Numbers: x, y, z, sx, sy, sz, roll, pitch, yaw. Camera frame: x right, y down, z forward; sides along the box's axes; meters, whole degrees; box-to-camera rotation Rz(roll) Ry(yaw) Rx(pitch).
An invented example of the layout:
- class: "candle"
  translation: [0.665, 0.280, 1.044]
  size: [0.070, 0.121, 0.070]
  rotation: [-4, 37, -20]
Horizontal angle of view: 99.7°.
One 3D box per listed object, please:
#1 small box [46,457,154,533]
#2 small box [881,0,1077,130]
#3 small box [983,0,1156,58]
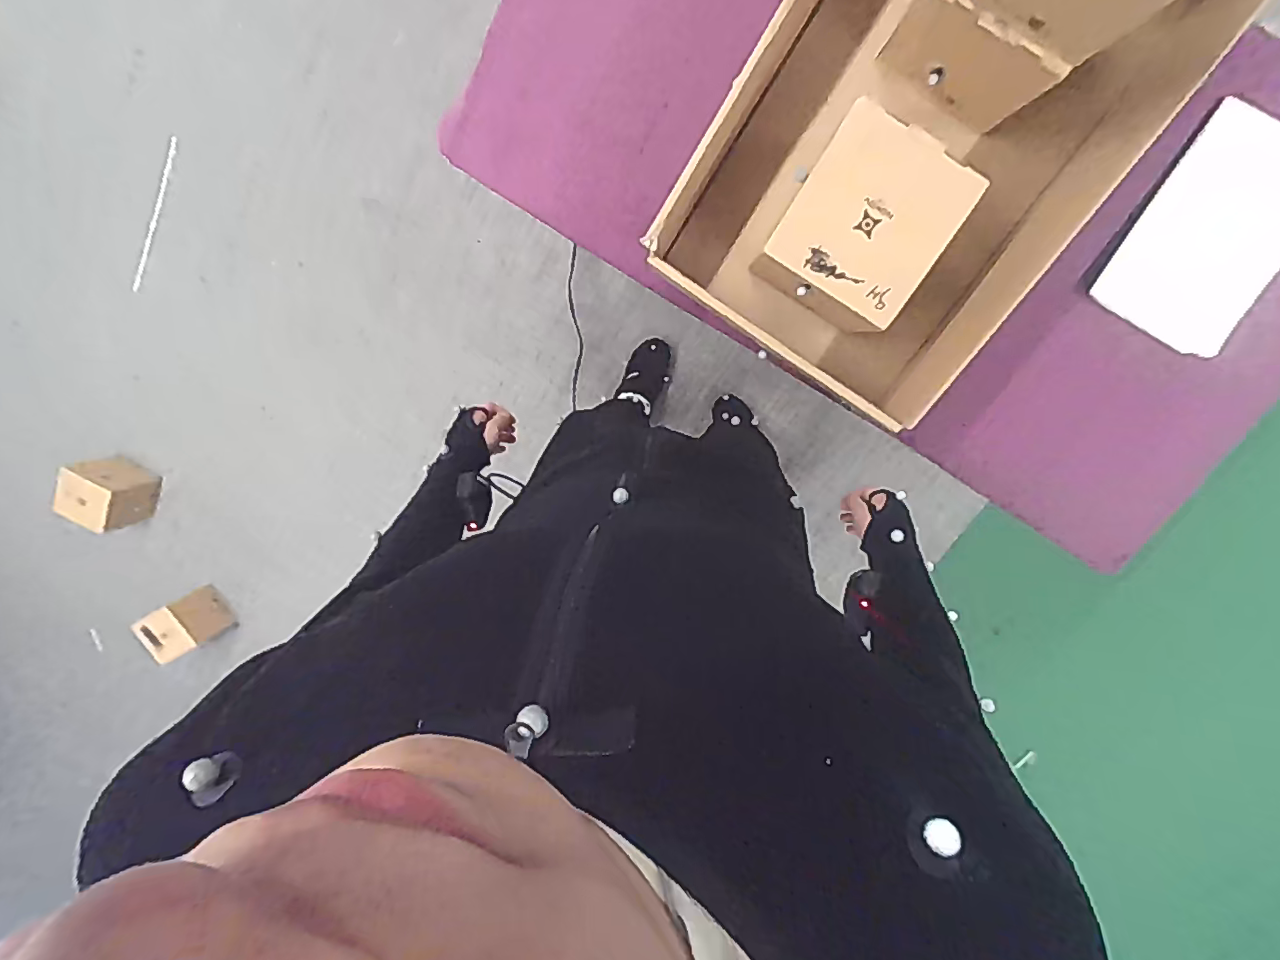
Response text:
- class: "small box"
  translation: [-1.737, 0.041, 1.748]
  size: [0.179, 0.176, 0.168]
  rotation: [28, 105, -2]
- class: "small box"
  translation: [0.394, -0.525, 0.578]
  size: [0.168, 0.176, 0.179]
  rotation: [31, 107, -3]
- class: "small box"
  translation: [0.381, -0.486, 0.419]
  size: [0.168, 0.176, 0.179]
  rotation: [30, 106, -3]
